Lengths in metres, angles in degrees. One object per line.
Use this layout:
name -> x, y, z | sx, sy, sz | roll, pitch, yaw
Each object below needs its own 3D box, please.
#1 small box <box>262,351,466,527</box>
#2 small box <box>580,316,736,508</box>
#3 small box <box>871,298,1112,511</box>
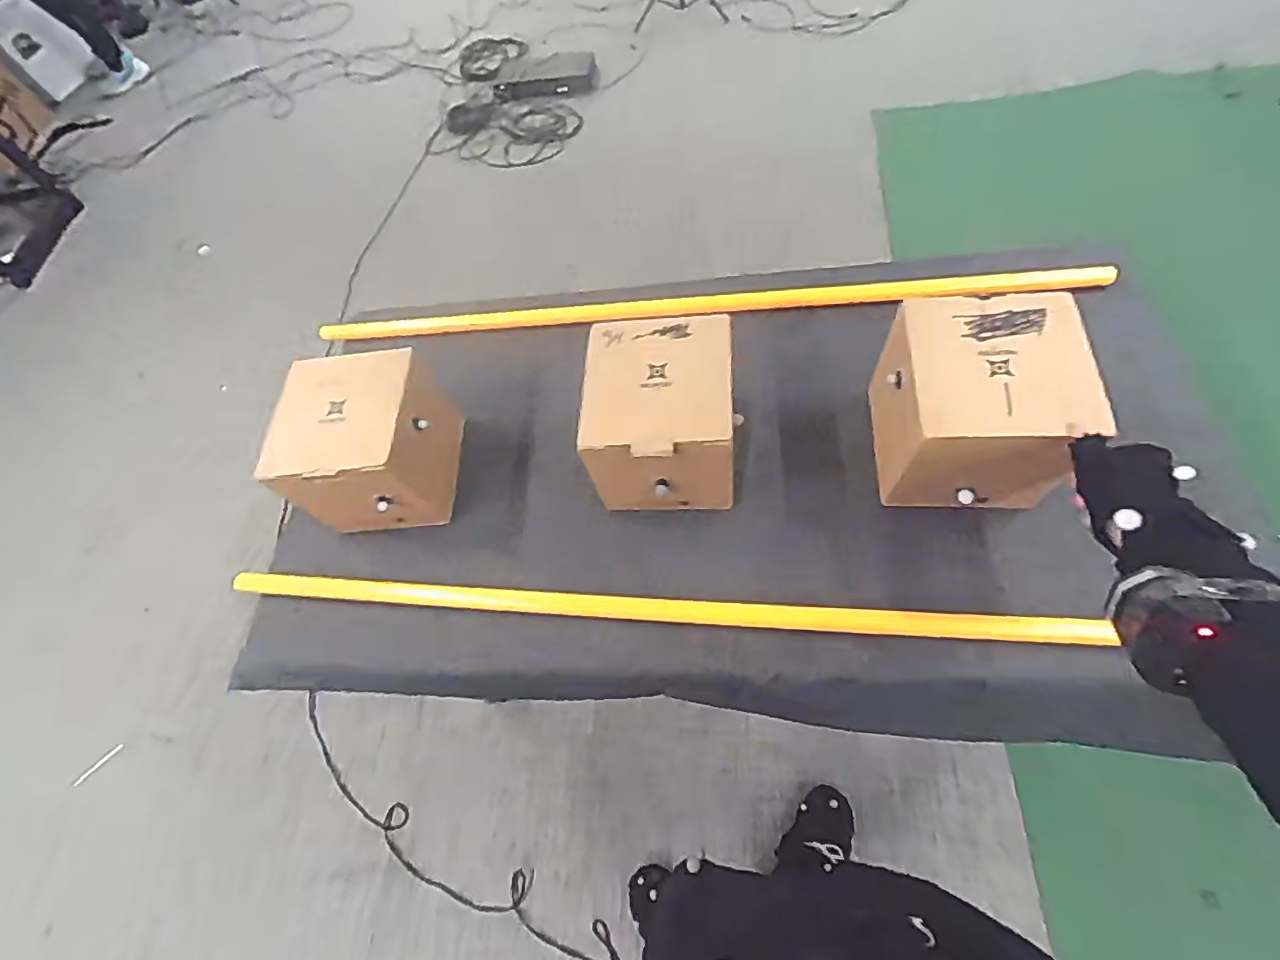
small box -> -0.350, -0.044, 0.727 | 0.168, 0.176, 0.179 | -5, 61, 6
small box -> 0.031, -0.073, 0.676 | 0.168, 0.176, 0.179 | -4, 62, 10
small box -> 0.371, -0.079, 0.613 | 0.168, 0.176, 0.179 | 0, 64, 11
